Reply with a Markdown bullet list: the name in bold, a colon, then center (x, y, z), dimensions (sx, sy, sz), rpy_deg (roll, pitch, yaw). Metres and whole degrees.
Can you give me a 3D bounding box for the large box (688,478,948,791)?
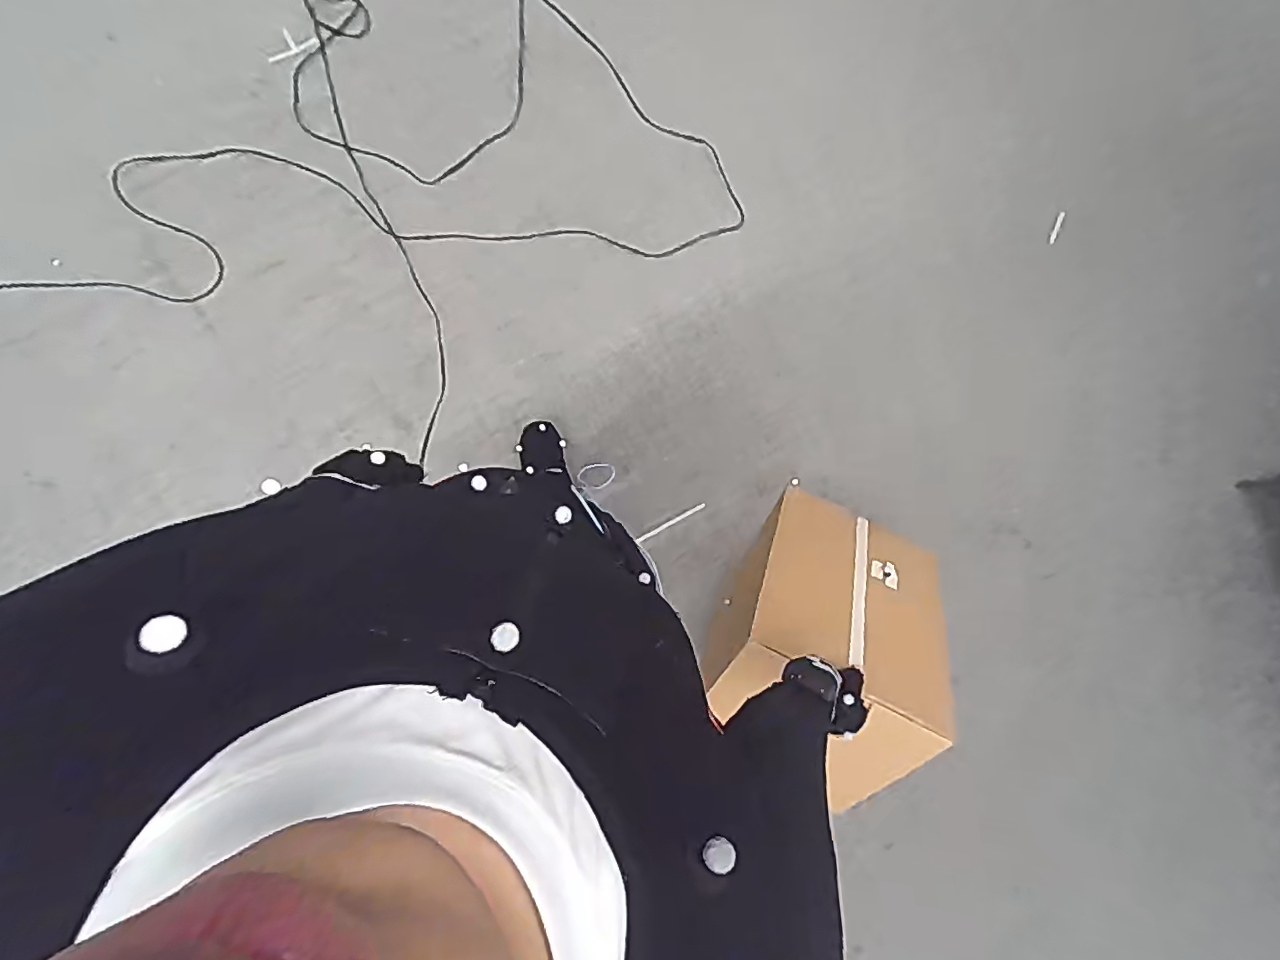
- **large box**: center (0.322, 0.276, 1.019), dimensions (0.320, 0.408, 0.320), rpy_deg (26, 130, 5)
